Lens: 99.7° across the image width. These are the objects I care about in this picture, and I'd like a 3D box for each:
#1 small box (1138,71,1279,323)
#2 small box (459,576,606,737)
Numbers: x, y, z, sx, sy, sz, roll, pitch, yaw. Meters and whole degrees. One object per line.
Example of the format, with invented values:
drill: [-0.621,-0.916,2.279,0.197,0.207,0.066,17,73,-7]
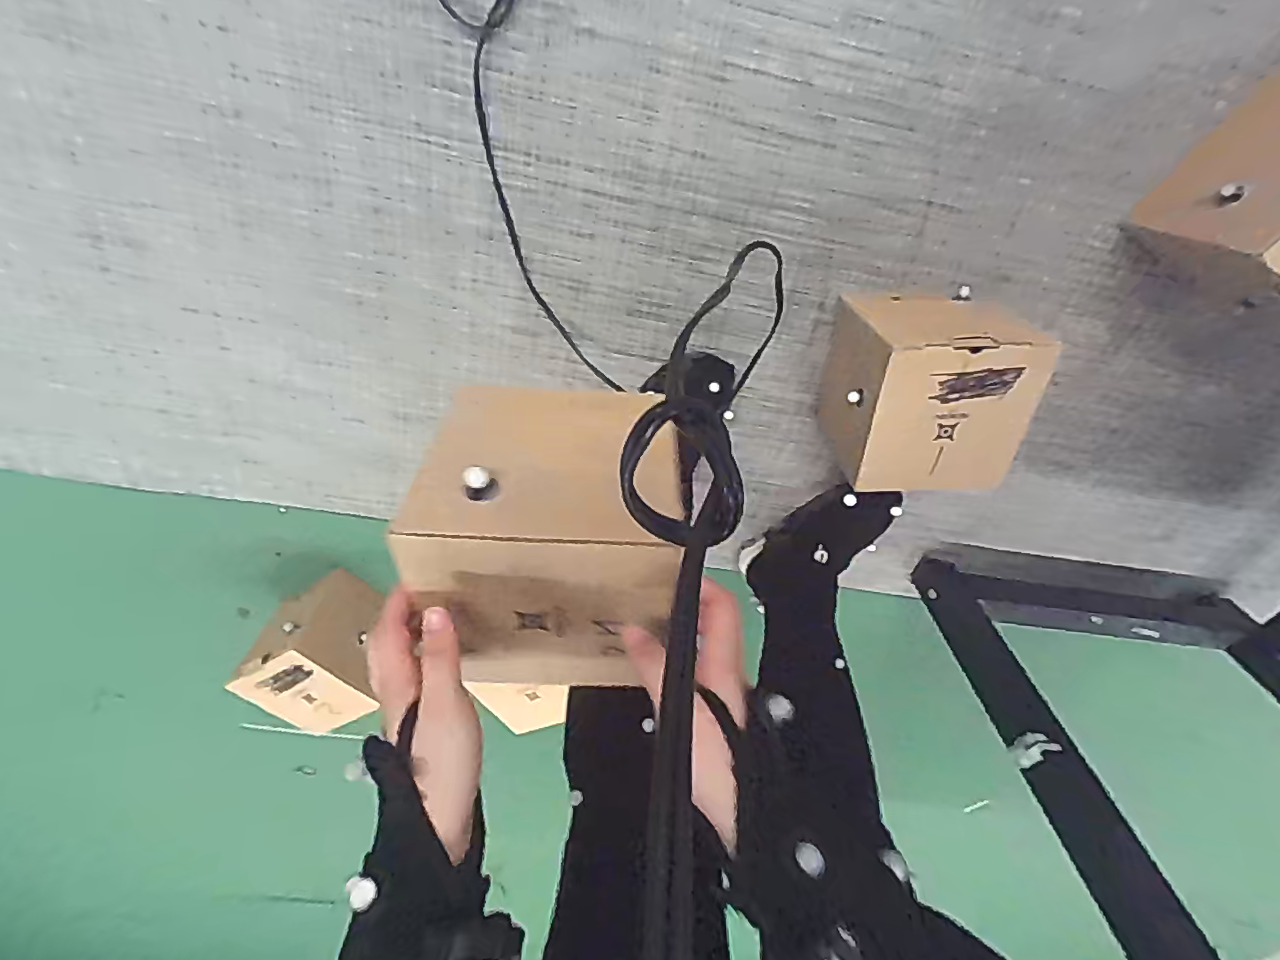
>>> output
small box: [0.645,-0.263,0.518,0.168,0.176,0.179,26,119,-17]
small box: [-0.166,0.294,0.907,0.168,0.176,0.179,-21,121,14]
